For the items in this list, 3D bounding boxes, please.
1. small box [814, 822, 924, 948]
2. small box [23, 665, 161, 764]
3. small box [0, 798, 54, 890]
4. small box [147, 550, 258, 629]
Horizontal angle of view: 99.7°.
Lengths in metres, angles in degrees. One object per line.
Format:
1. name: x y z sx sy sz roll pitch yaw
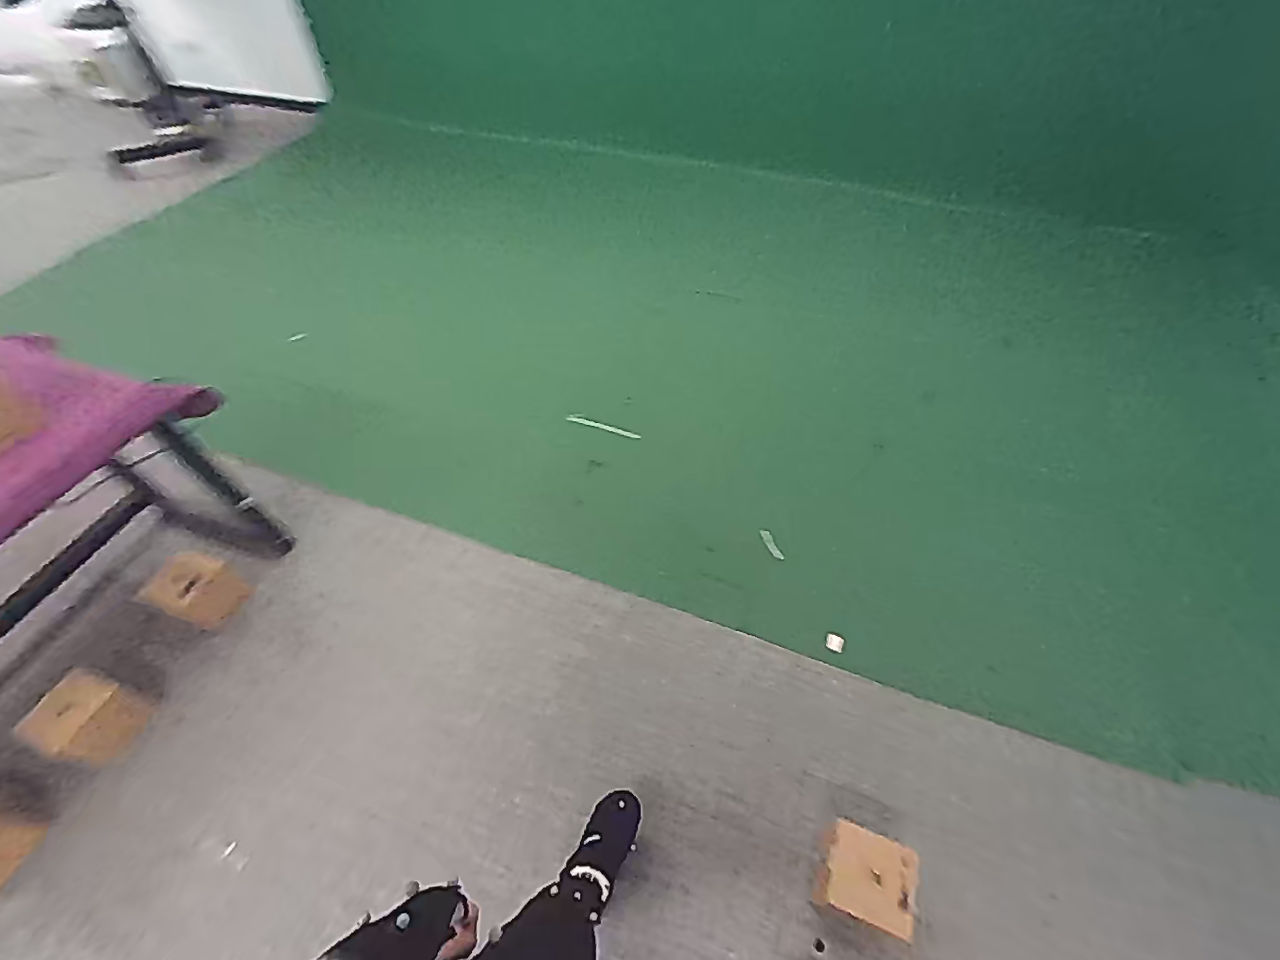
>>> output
1. small box: 0.503 0.898 1.202 0.179 0.176 0.168 18 55 15
2. small box: -1.469 0.640 1.470 0.168 0.176 0.179 16 55 15
3. small box: -1.595 0.878 1.288 0.168 0.176 0.179 15 54 13
4. small box: -1.357 0.348 1.693 0.179 0.176 0.168 13 53 12
